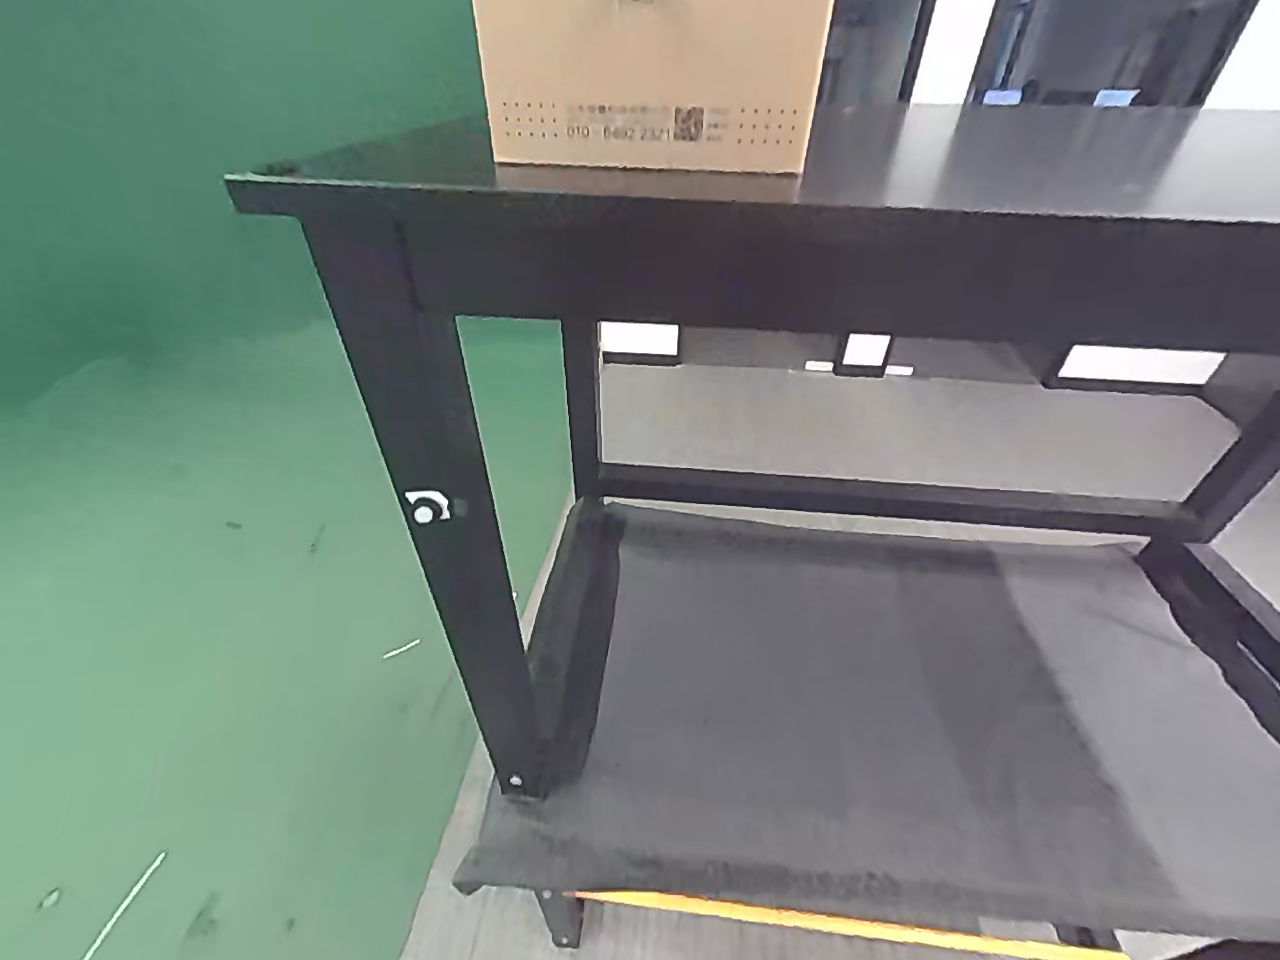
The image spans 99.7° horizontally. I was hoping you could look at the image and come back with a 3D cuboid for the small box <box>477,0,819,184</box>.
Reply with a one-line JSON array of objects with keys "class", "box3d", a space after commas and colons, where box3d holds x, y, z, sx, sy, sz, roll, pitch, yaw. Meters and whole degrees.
[{"class": "small box", "box3d": [0.011, -0.277, 0.308, 0.168, 0.176, 0.179, 5, 38, 4]}]
